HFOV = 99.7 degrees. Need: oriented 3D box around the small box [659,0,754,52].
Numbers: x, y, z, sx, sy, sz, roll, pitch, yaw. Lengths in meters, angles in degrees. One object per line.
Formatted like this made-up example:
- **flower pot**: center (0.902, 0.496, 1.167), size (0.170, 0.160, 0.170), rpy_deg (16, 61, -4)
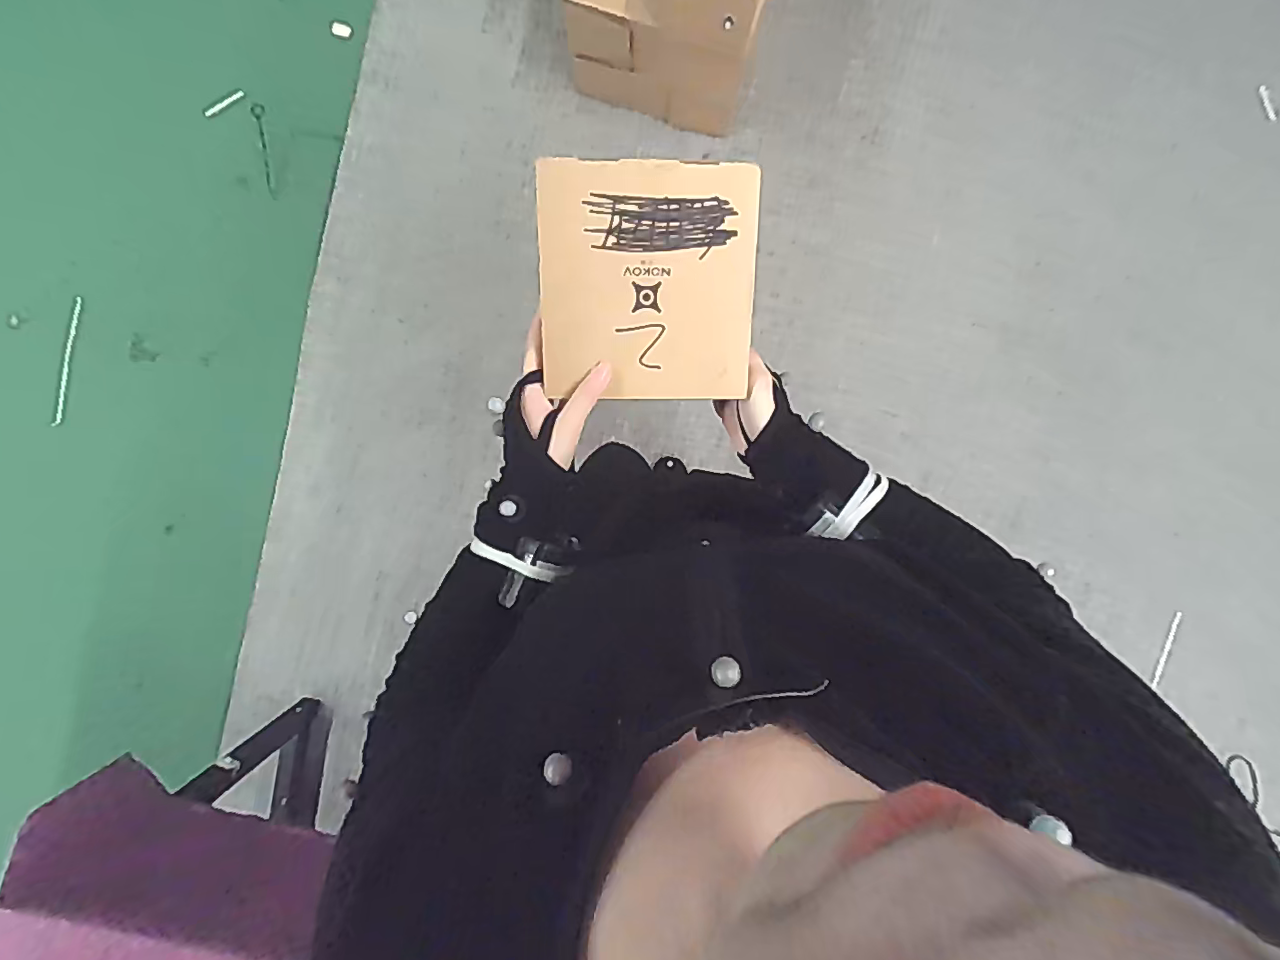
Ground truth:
- **small box**: center (0.140, -0.963, 1.023), size (0.179, 0.176, 0.168), rpy_deg (15, 93, 1)
